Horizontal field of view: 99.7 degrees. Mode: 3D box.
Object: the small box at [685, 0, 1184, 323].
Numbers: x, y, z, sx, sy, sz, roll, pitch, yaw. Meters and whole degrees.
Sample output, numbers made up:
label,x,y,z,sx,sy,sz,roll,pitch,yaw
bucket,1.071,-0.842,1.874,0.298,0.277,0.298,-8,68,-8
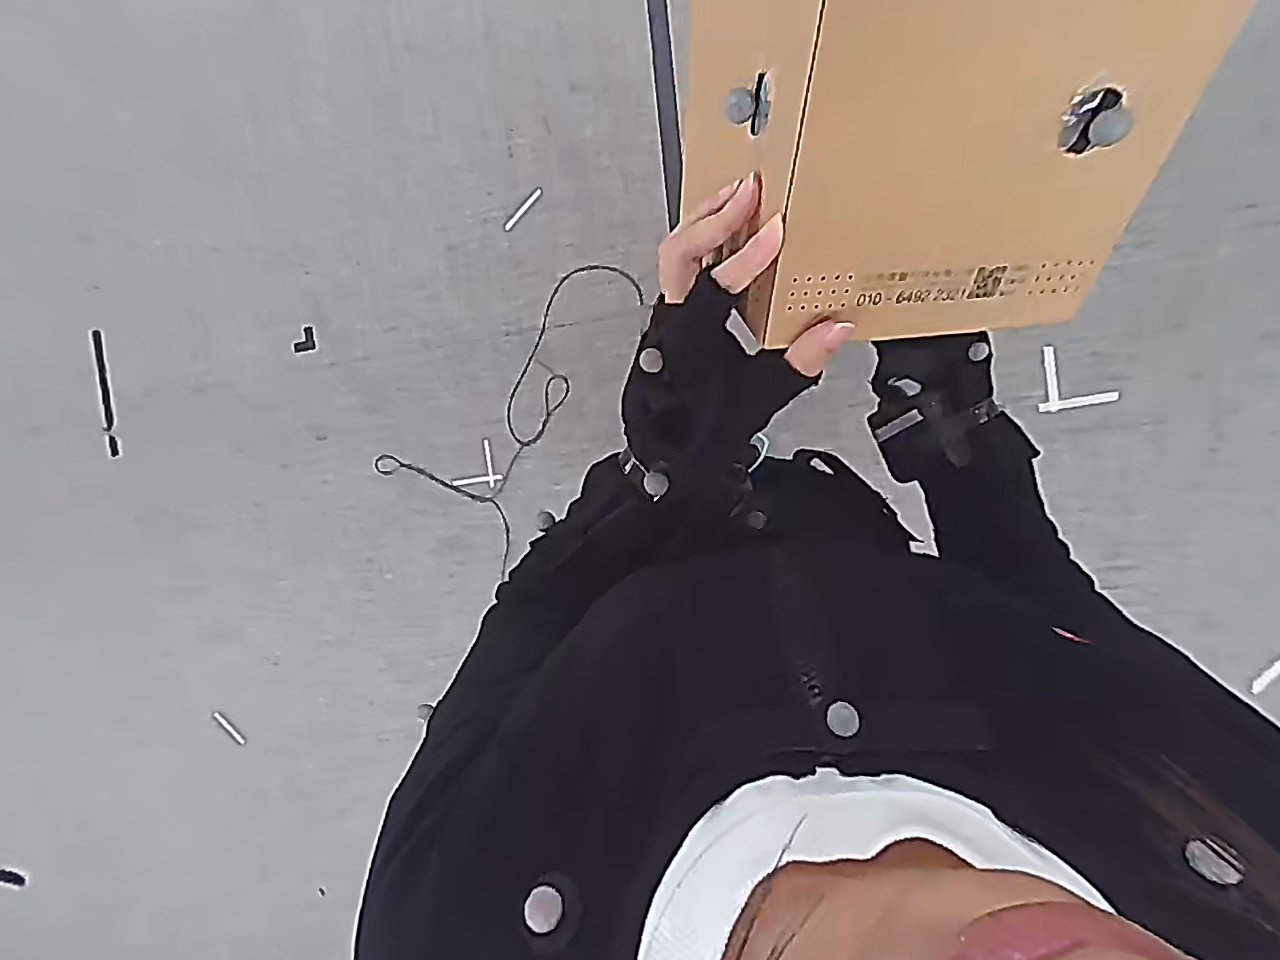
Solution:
label,x,y,z,sx,sy,sz,roll,pitch,yaw
small box,0.125,-0.194,0.291,0.168,0.179,0.176,-6,132,-8
